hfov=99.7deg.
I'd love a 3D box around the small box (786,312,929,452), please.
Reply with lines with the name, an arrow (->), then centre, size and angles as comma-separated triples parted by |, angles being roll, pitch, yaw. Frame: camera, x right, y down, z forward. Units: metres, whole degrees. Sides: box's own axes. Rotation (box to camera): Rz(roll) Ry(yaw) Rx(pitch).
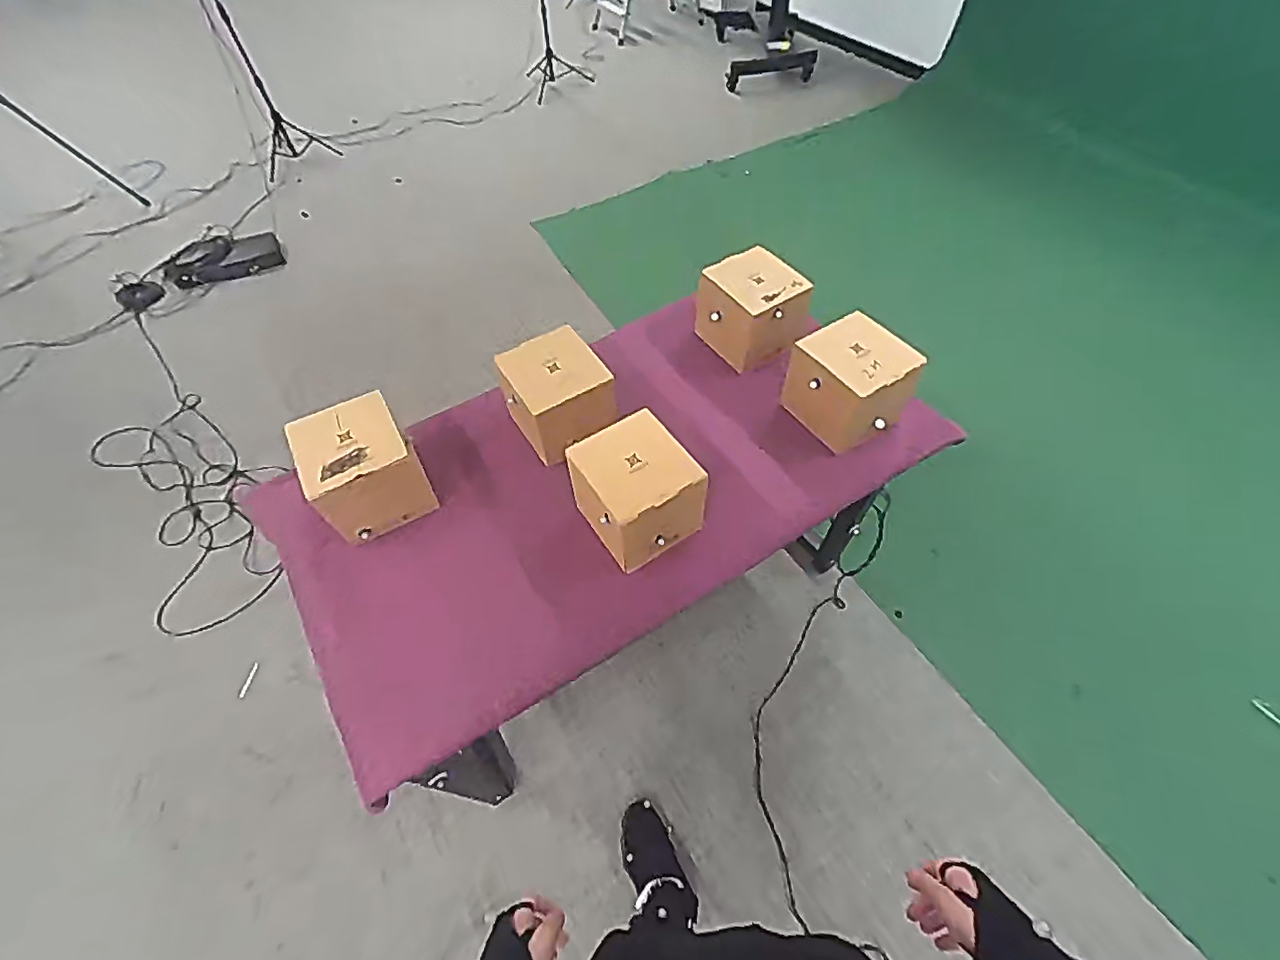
small box -> 0.410, -0.189, 1.057 | 0.168, 0.176, 0.179 | -28, 59, -15

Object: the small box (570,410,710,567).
small box -> -0.002, 0.018, 0.932 | 0.168, 0.176, 0.179 | -29, 60, -18

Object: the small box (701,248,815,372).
small box -> 0.249, -0.371, 1.189 | 0.168, 0.176, 0.179 | -30, 60, -17

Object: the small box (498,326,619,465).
small box -> -0.154, -0.163, 1.060 | 0.168, 0.176, 0.179 | -28, 61, -16

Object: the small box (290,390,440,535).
small box -> -0.482, -0.022, 0.966 | 0.168, 0.176, 0.179 | -26, 60, -16
